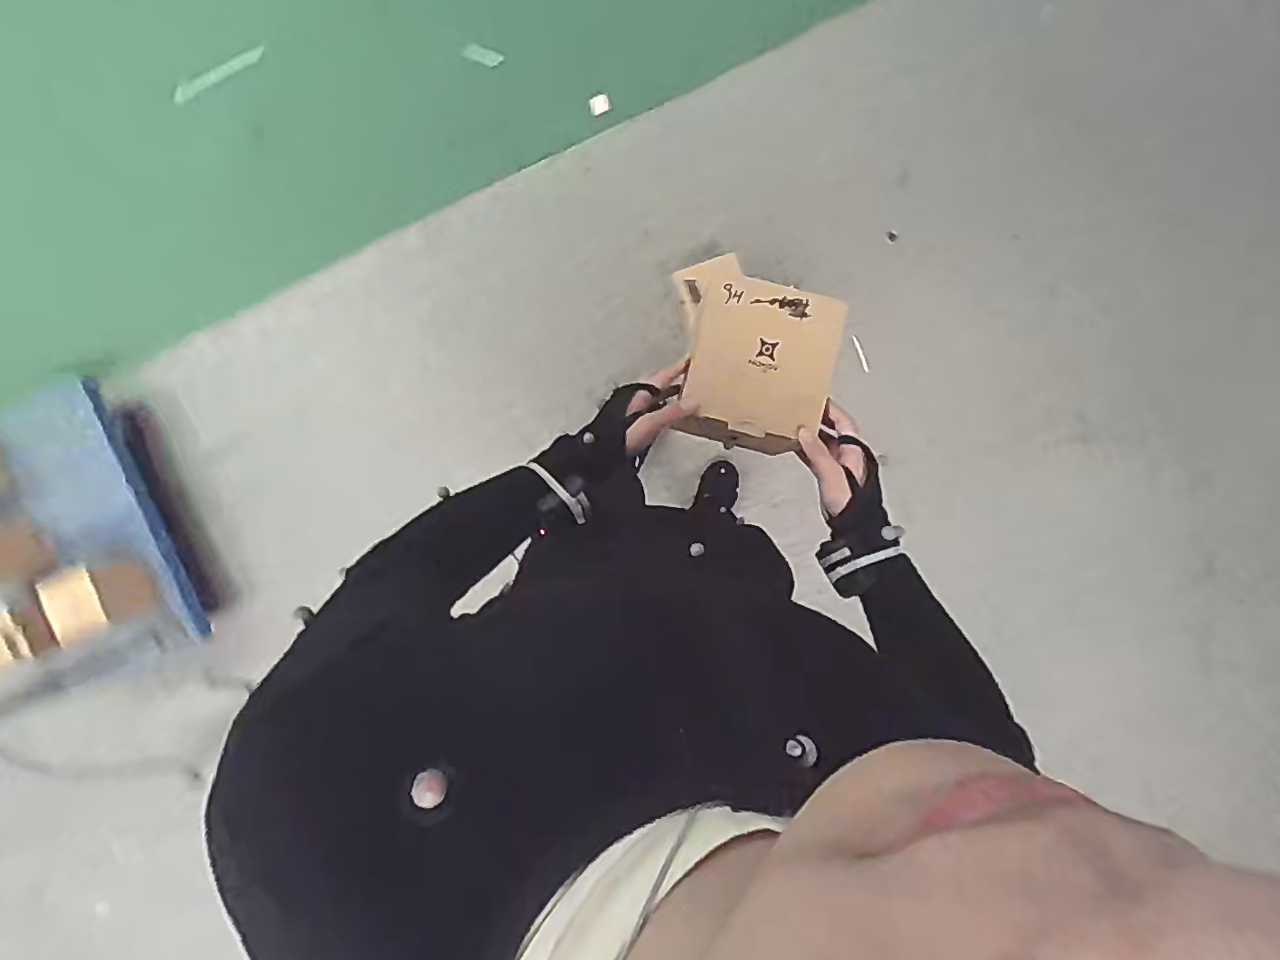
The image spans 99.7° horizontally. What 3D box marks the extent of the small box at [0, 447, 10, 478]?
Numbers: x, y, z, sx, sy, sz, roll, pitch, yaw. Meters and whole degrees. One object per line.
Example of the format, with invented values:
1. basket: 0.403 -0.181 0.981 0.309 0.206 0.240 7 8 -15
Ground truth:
1. small box: -1.977 -0.056 1.529 0.179 0.176 0.168 -22 95 6

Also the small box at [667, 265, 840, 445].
1. small box: 0.133 -0.148 0.706 0.168 0.176 0.179 13 90 -2

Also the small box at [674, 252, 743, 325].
1. small box: 0.201 -0.507 1.513 0.179 0.176 0.168 -17 95 5

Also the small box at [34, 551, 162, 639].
1. small box: -1.522 0.321 1.532 0.168 0.176 0.179 -19 93 6

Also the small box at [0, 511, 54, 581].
1. small box: -1.868 0.202 1.549 0.179 0.176 0.168 -21 93 5
